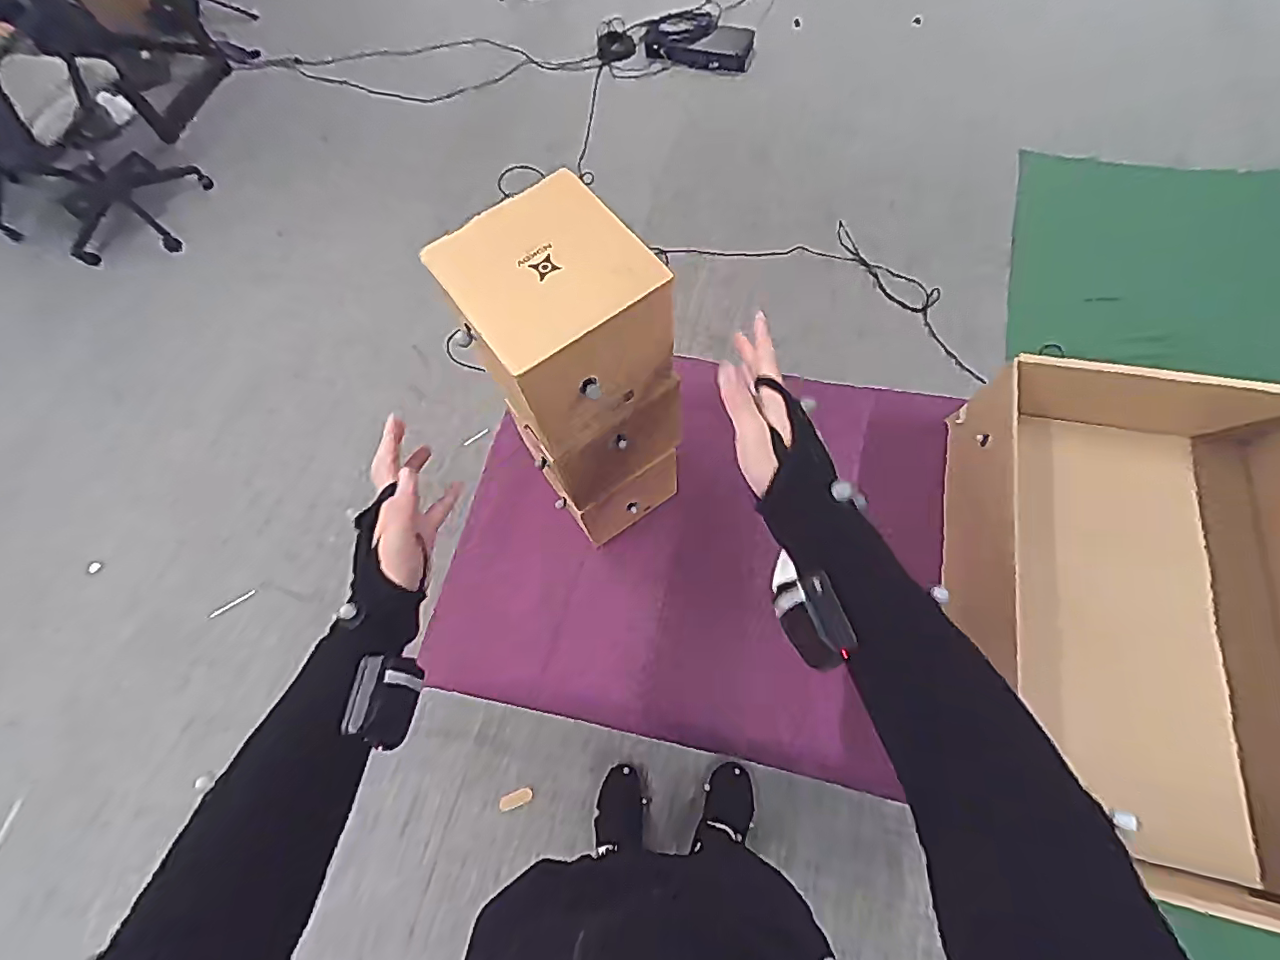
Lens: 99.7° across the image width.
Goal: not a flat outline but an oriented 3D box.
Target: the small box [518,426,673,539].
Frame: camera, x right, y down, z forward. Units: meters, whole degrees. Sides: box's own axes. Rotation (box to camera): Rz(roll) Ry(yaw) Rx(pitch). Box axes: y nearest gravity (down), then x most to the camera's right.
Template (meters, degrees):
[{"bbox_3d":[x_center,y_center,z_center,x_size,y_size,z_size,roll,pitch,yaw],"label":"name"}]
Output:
[{"bbox_3d":[-0.061,-0.025,0.848,0.168,0.176,0.179,-33,69,-11],"label":"small box"}]

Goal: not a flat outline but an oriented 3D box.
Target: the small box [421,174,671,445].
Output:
[{"bbox_3d":[-0.080,-0.157,0.552,0.168,0.176,0.179,-35,70,-10],"label":"small box"}]

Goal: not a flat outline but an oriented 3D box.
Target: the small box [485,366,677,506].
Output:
[{"bbox_3d":[-0.065,-0.092,0.700,0.179,0.176,0.168,-34,70,-10],"label":"small box"}]
